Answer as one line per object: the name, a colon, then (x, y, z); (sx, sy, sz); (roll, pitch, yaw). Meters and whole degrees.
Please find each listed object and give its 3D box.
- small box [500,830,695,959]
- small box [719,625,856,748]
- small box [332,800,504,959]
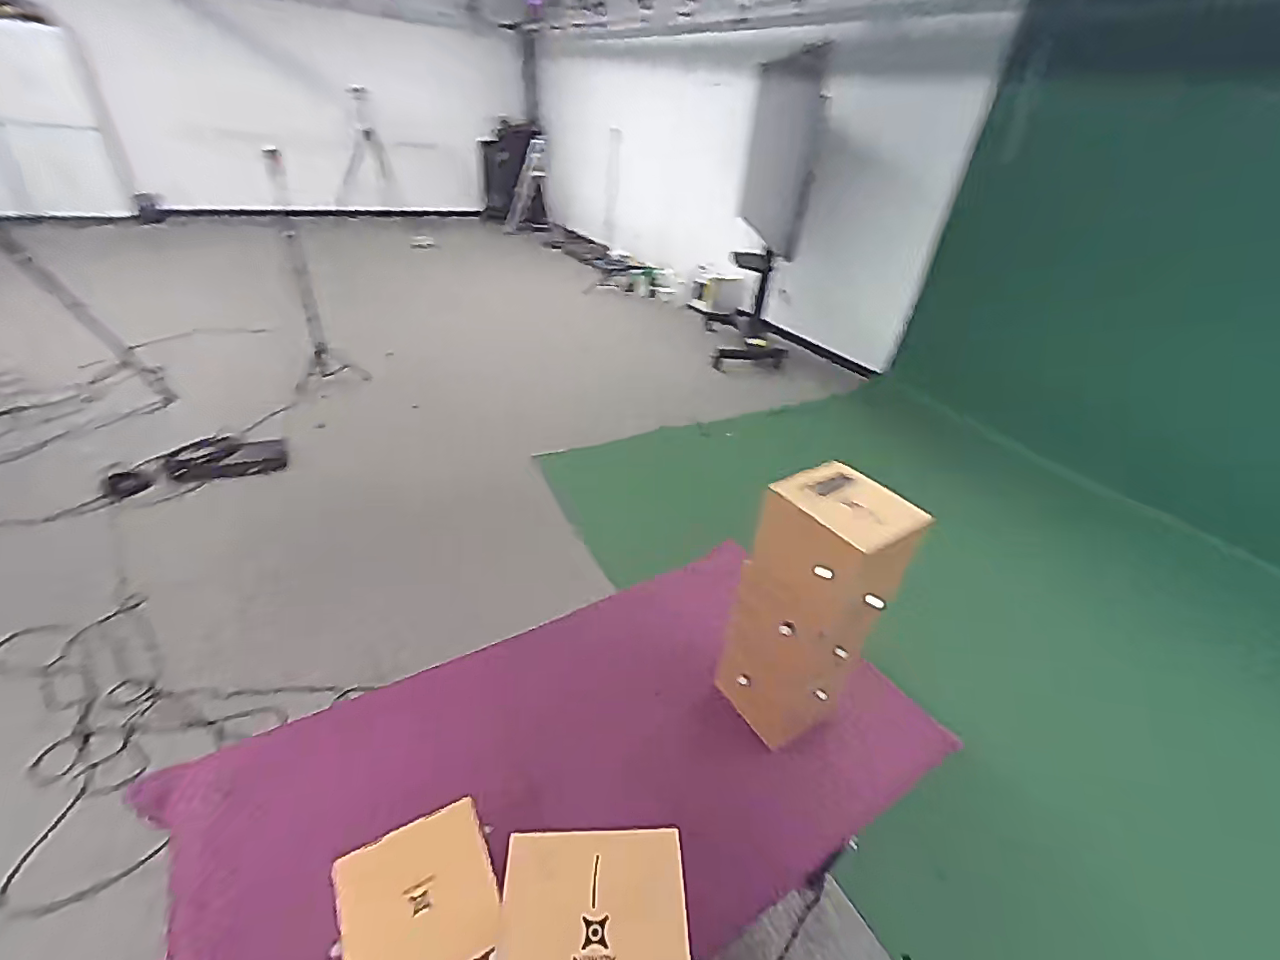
small box: (-0.037, 0.455, 0.502); (0.168, 0.176, 0.179); (2, 37, -2)
small box: (0.270, 0.364, 1.031); (0.168, 0.176, 0.179); (-17, 39, -29)
small box: (-0.265, 0.555, 0.673); (0.168, 0.176, 0.179); (-15, 38, -27)
